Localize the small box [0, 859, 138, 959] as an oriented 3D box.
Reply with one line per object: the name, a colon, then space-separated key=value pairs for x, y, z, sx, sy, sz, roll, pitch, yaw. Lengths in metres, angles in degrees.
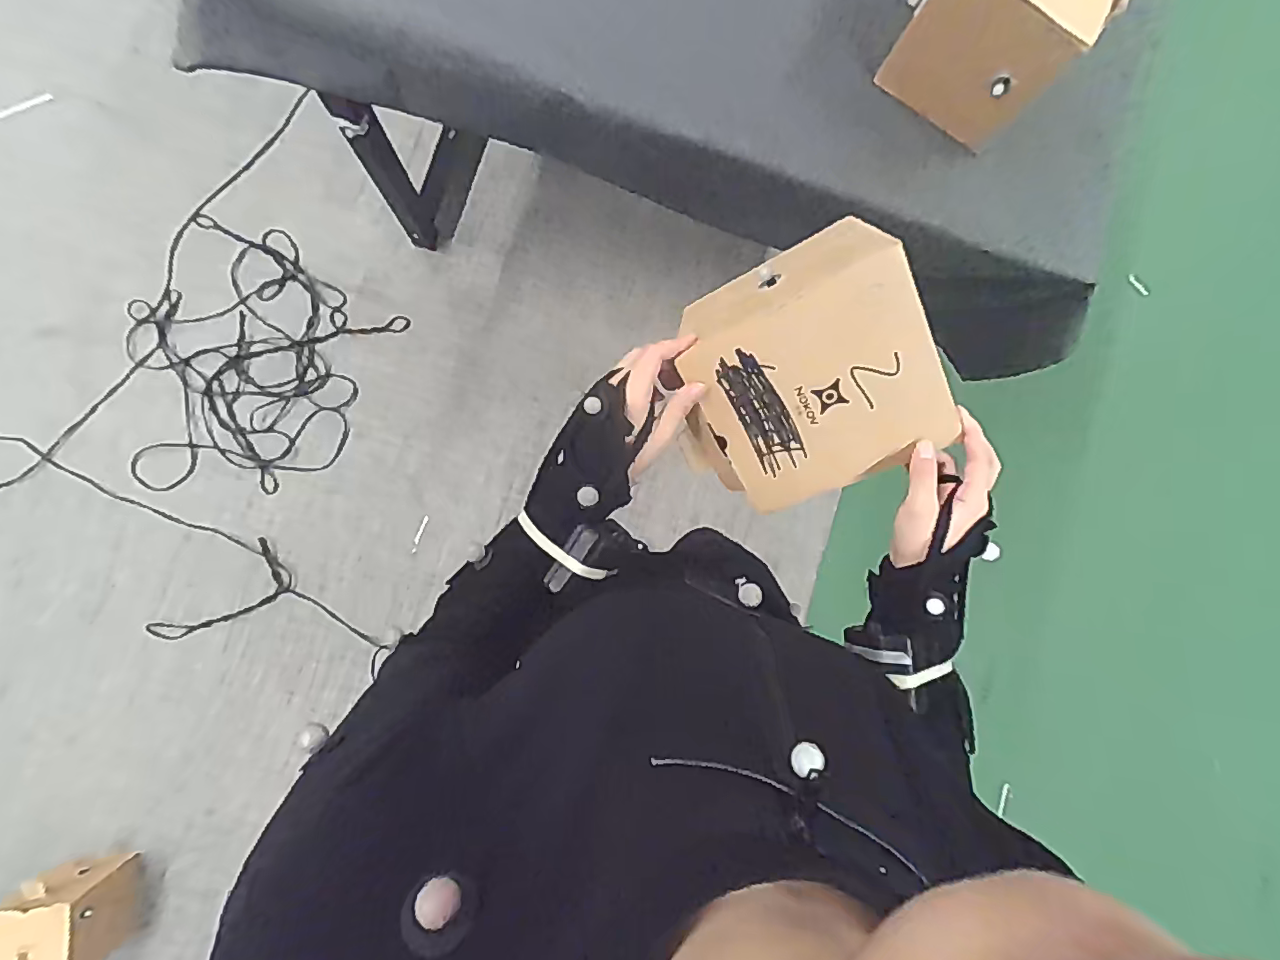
small box: x=-1.192 y=0.929 z=1.118 sx=0.168 sy=0.176 sz=0.179 roll=-2 pitch=85 yaw=-6

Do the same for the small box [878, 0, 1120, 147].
small box: x=0.433 y=-0.551 z=0.654 sx=0.179 sy=0.176 sz=0.168 roll=32 pitch=82 yaw=-1
